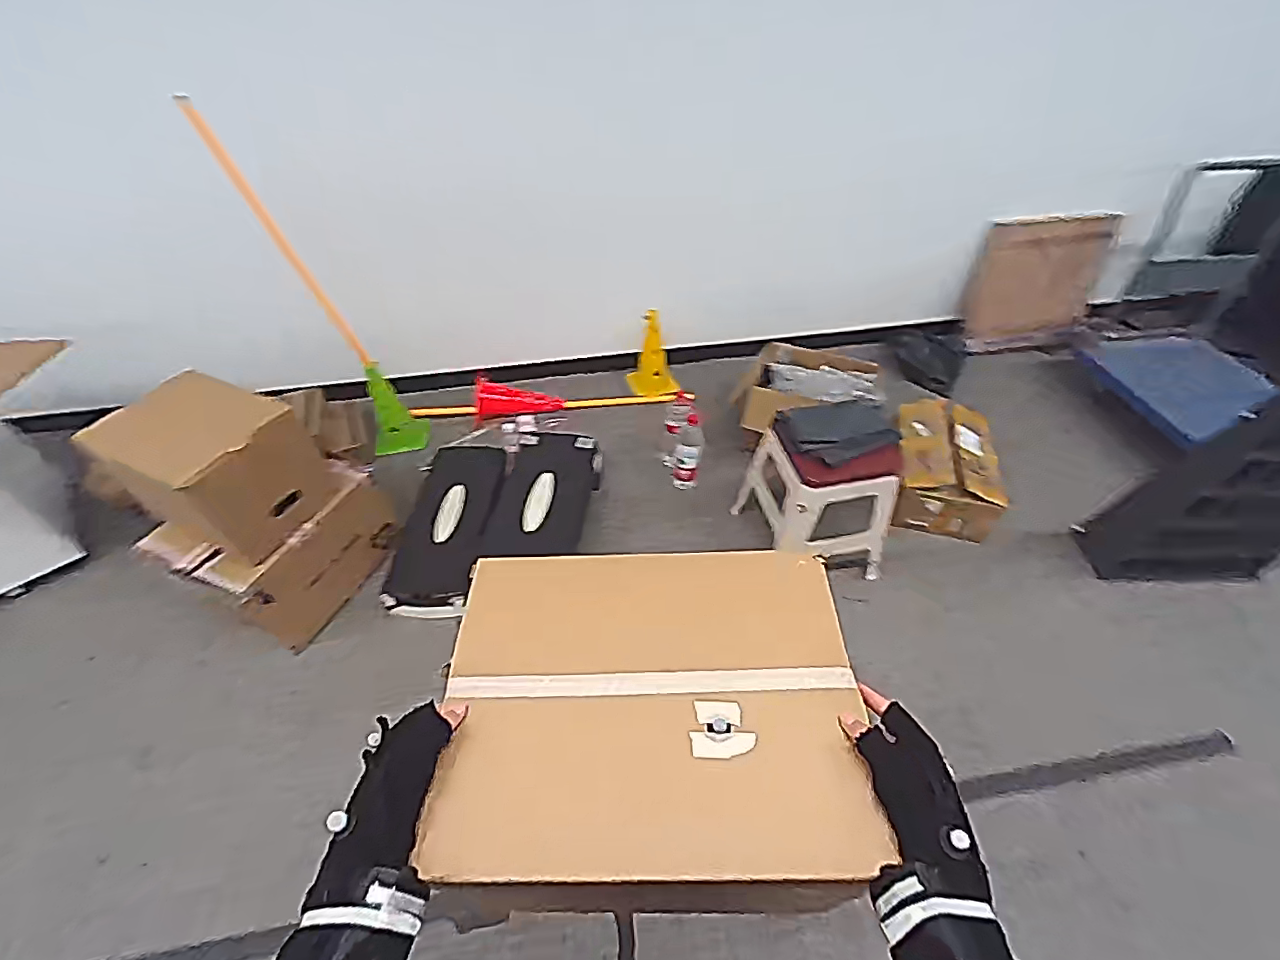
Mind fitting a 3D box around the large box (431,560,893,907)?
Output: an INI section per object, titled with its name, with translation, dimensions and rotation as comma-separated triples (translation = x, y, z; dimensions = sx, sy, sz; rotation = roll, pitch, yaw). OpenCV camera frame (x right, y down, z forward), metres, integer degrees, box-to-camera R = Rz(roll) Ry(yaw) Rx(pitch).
[large box]
translation = 0.021, 0.315, 0.666
dimensions = 0.408, 0.320, 0.320
rotation = -1, 48, 2
